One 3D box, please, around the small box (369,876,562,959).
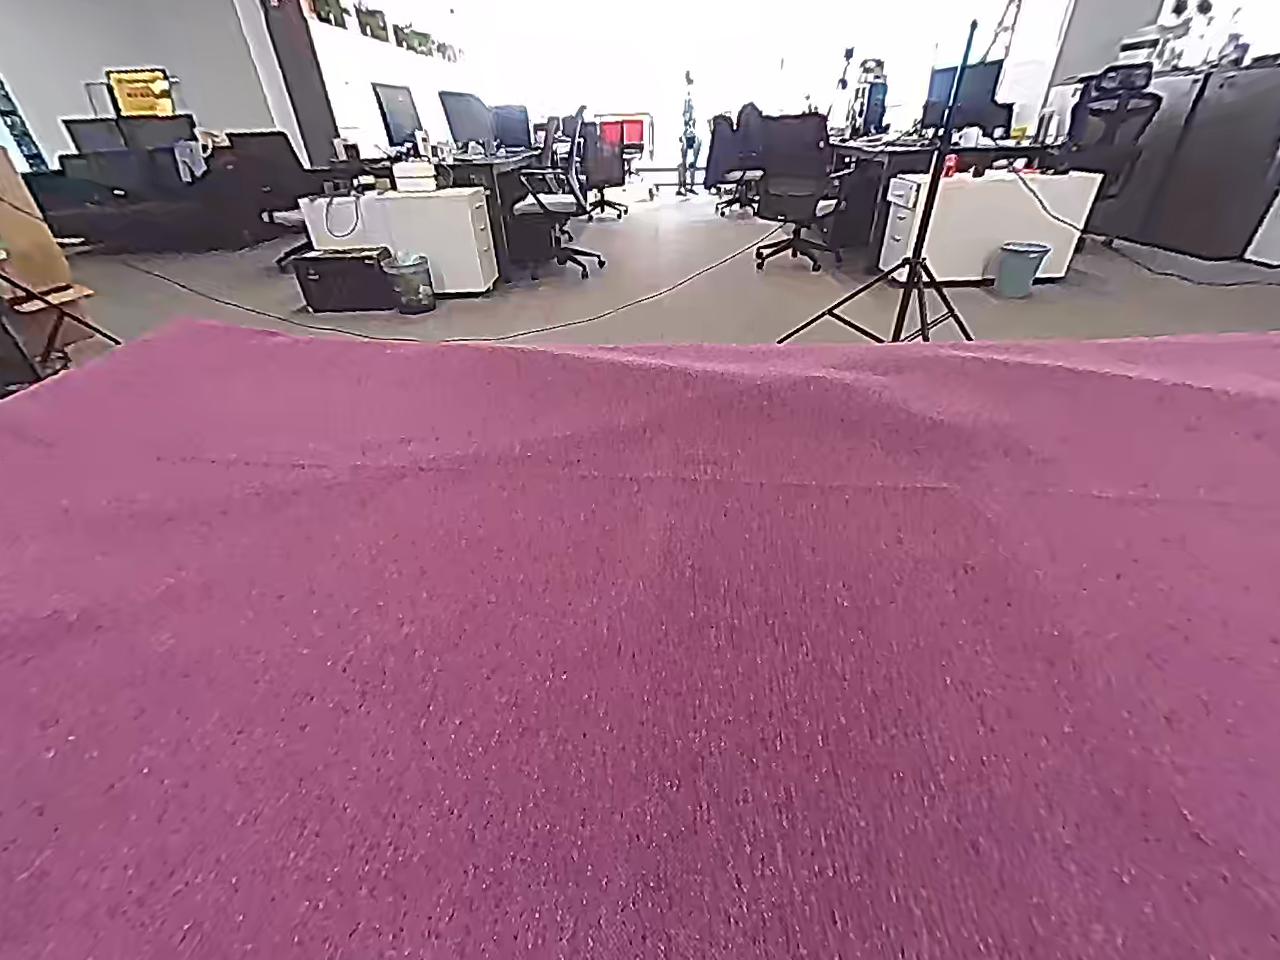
[{"bbox_3d":[-0.171,0.528,0.534,0.168,0.176,0.179,-3,35,-1],"label":"small box"}]
